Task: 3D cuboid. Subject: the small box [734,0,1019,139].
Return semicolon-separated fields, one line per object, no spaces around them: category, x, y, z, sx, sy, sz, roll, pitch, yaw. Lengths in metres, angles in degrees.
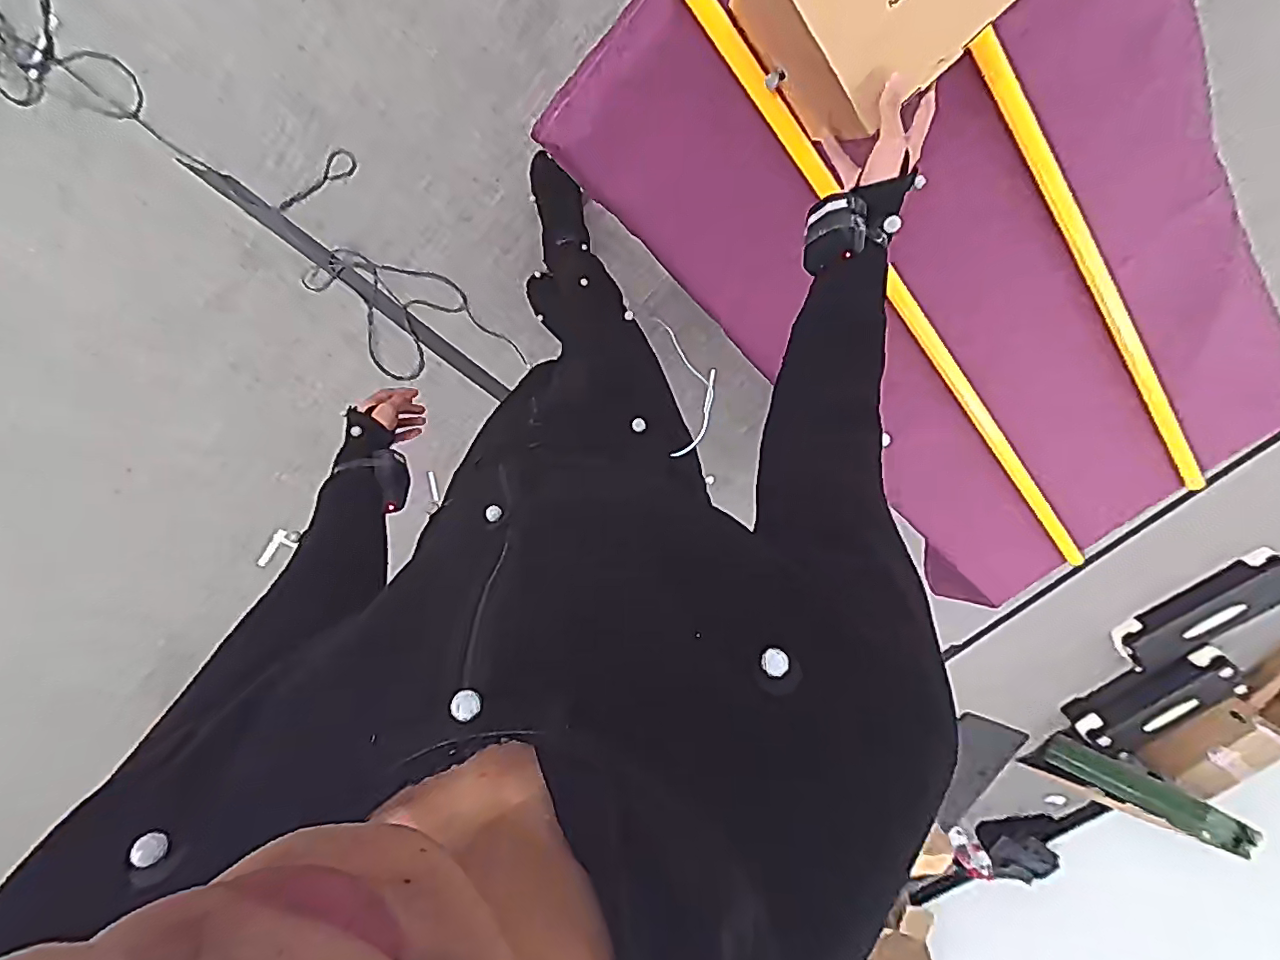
small box;0.222;-0.481;0.541;0.168;0.176;0.179;-40;118;17
